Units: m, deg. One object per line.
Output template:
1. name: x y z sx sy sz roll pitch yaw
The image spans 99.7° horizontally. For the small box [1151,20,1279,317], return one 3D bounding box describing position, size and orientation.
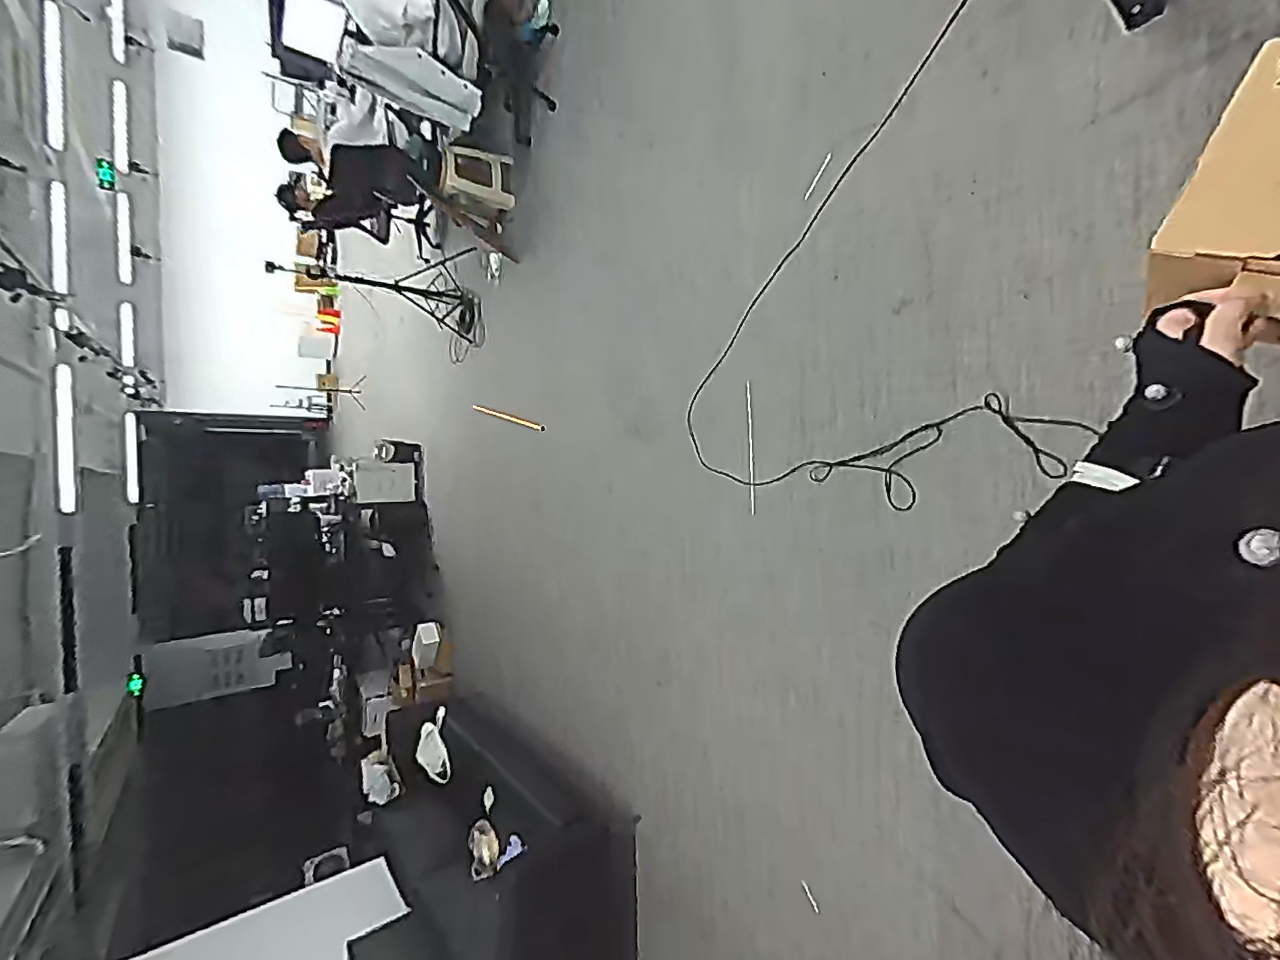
1. small box: 0.571 -0.239 0.442 0.168 0.176 0.179 33 105 42
